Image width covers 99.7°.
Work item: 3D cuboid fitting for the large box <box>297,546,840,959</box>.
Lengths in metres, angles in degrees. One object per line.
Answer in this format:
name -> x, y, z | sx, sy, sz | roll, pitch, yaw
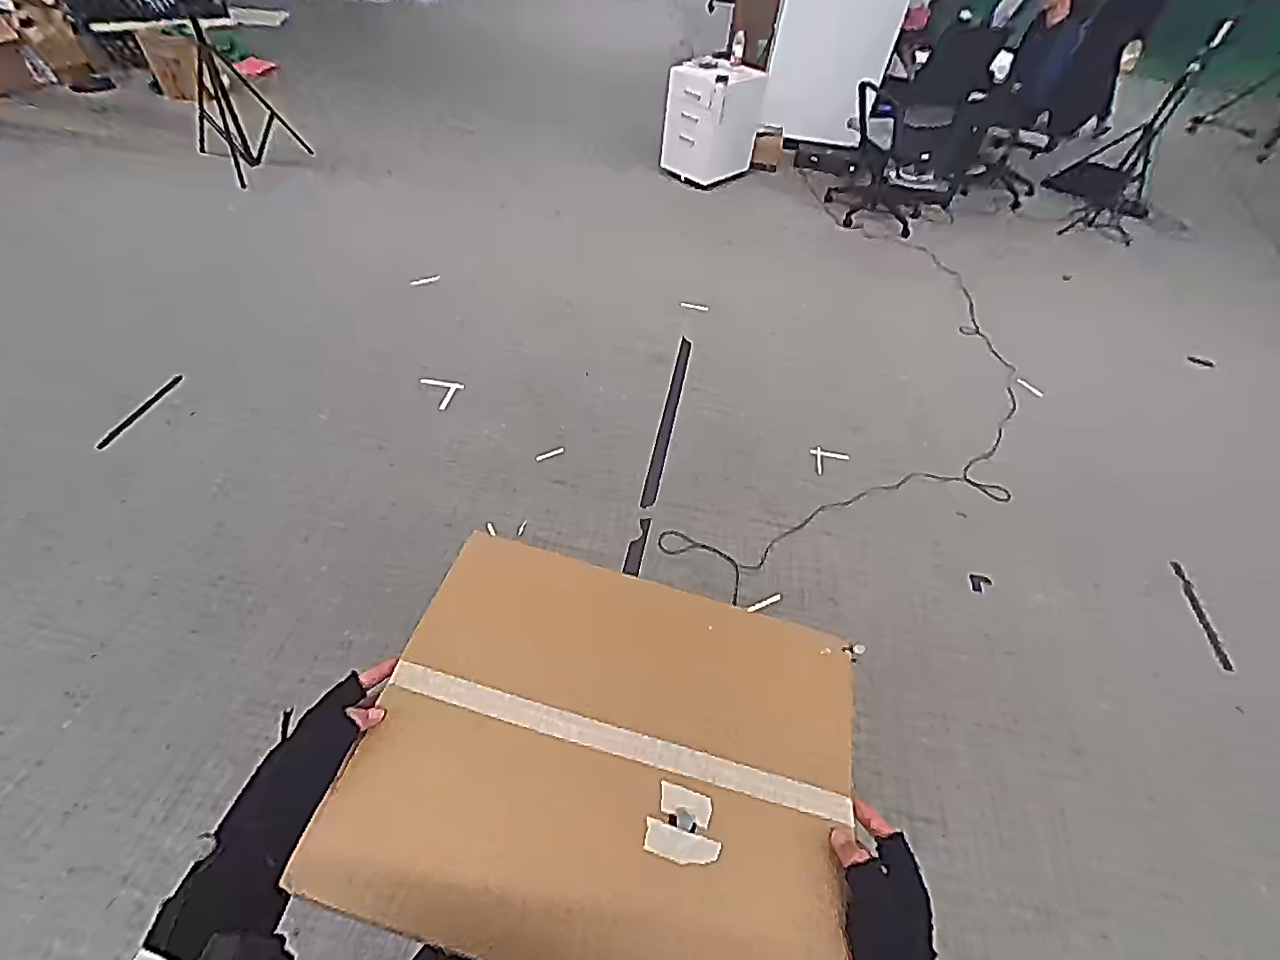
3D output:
large box -> -0.043, 0.324, 0.583 | 0.408, 0.320, 0.320 | 16, 51, 3
